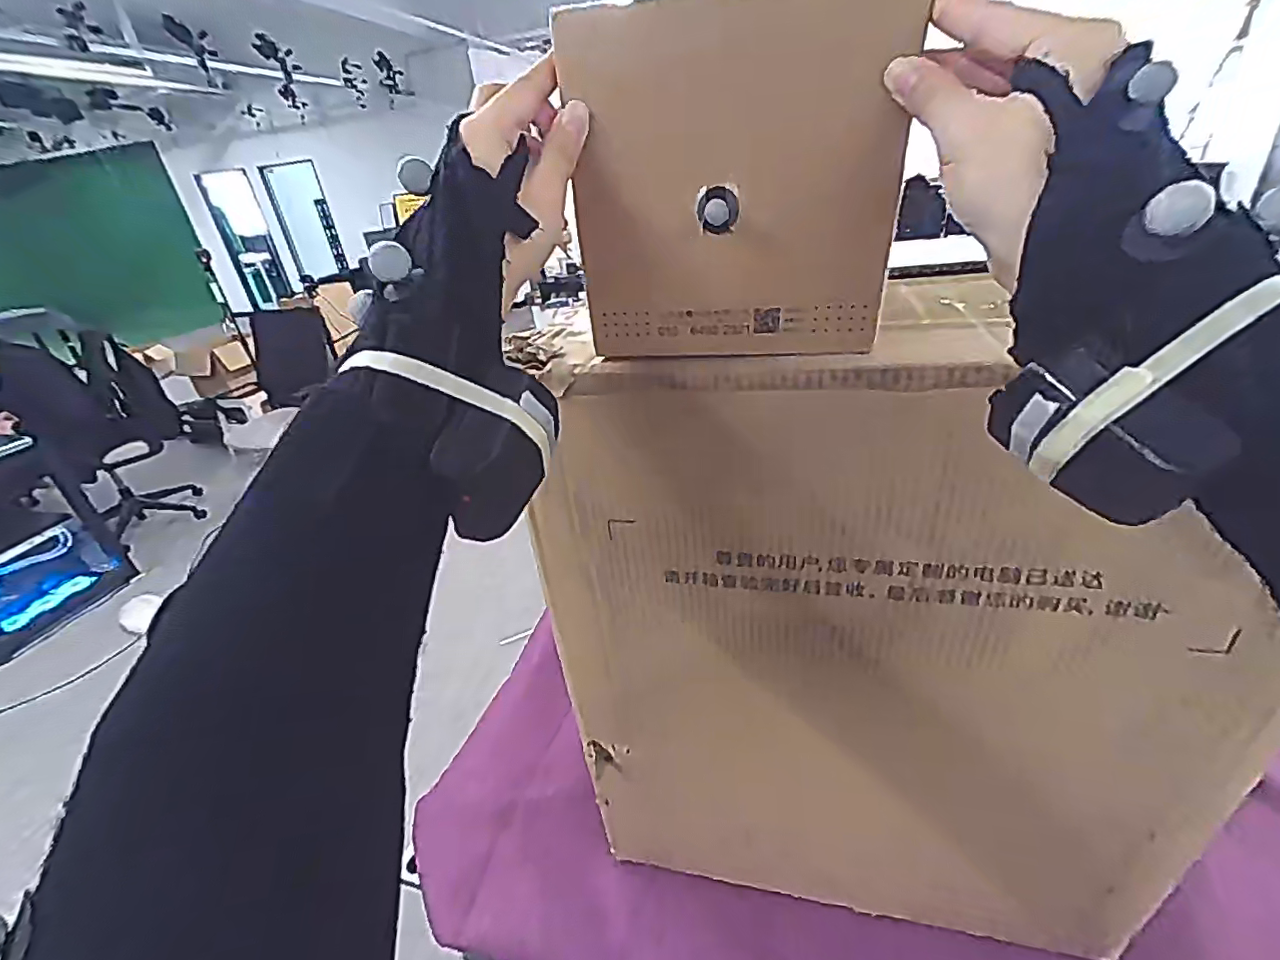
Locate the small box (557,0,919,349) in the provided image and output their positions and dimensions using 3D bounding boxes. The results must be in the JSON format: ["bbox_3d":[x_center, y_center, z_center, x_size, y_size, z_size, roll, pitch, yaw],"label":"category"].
[{"bbox_3d":[0.062,-0.190,0.347,0.168,0.176,0.179,2,34,11],"label":"small box"}]
